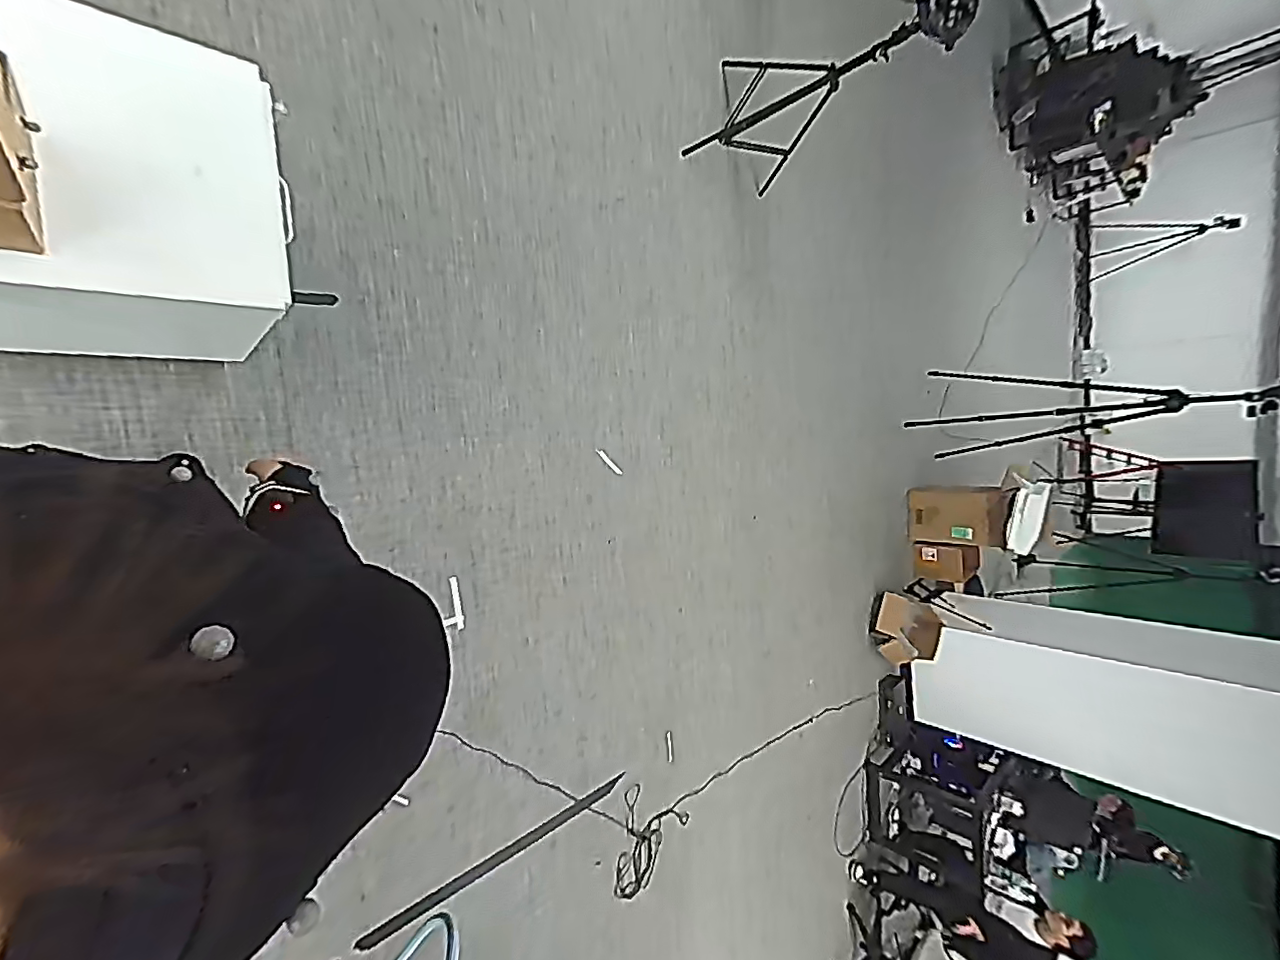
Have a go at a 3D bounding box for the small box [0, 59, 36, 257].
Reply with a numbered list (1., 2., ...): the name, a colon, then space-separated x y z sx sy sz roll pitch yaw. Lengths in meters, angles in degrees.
1. small box: -0.812 -0.374 0.601 0.168 0.176 0.179 -6 94 -43

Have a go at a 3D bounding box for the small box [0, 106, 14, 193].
1. small box: -0.705 -0.373 0.477 0.179 0.176 0.168 -12 97 -41
